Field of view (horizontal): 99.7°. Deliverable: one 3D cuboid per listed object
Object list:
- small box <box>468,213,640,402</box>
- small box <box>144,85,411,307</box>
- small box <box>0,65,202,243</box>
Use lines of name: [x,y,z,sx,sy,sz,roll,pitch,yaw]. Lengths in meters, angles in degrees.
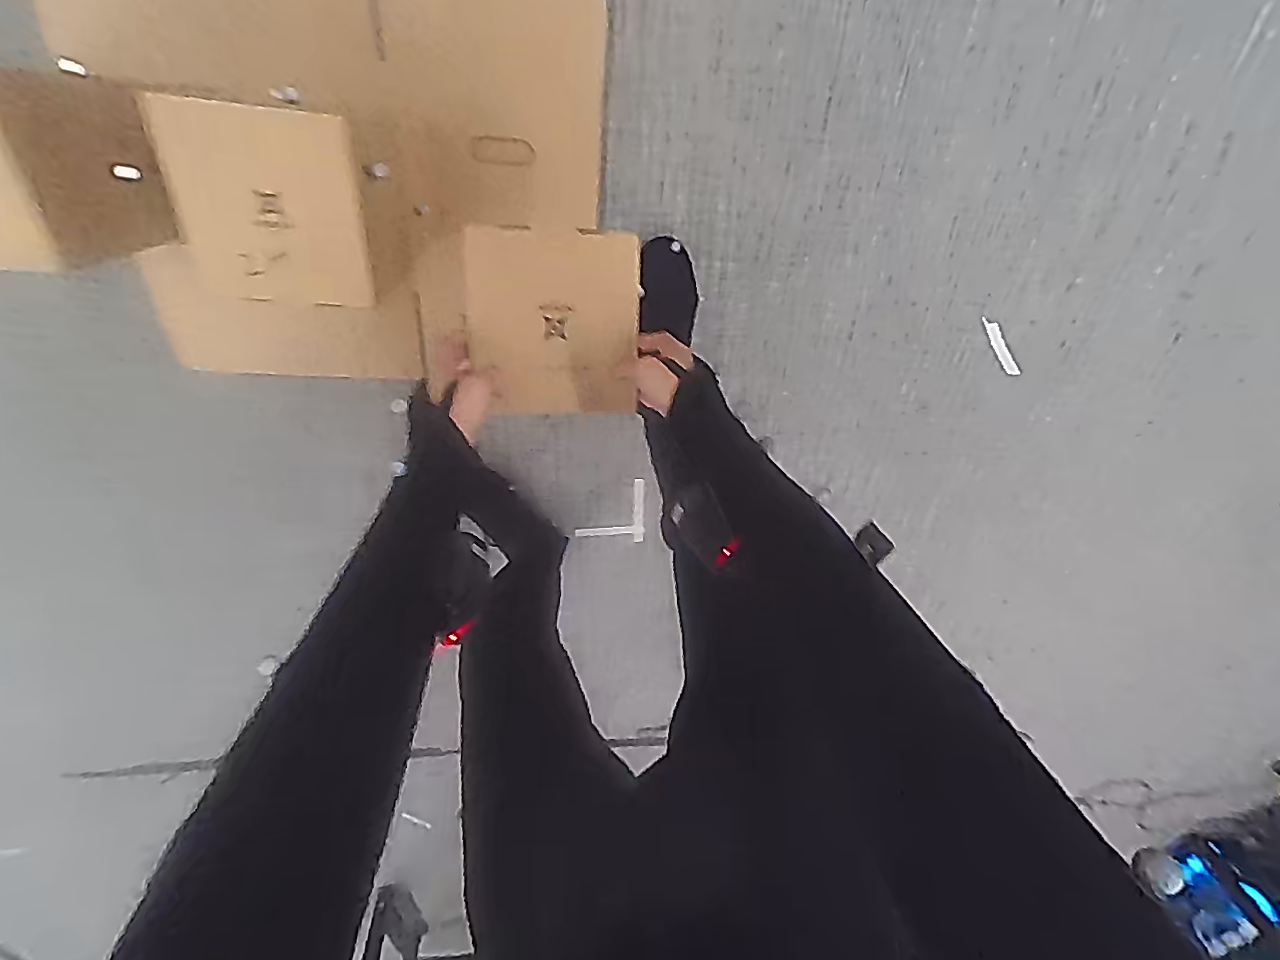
small box: [-0.095,-0.180,0.608,0.168,0.176,0.179,-1,102,-8]
small box: [-0.358,-0.304,0.579,0.168,0.176,0.179,2,125,-8]
small box: [-0.646,-0.407,0.674,0.179,0.176,0.168,1,124,-6]
